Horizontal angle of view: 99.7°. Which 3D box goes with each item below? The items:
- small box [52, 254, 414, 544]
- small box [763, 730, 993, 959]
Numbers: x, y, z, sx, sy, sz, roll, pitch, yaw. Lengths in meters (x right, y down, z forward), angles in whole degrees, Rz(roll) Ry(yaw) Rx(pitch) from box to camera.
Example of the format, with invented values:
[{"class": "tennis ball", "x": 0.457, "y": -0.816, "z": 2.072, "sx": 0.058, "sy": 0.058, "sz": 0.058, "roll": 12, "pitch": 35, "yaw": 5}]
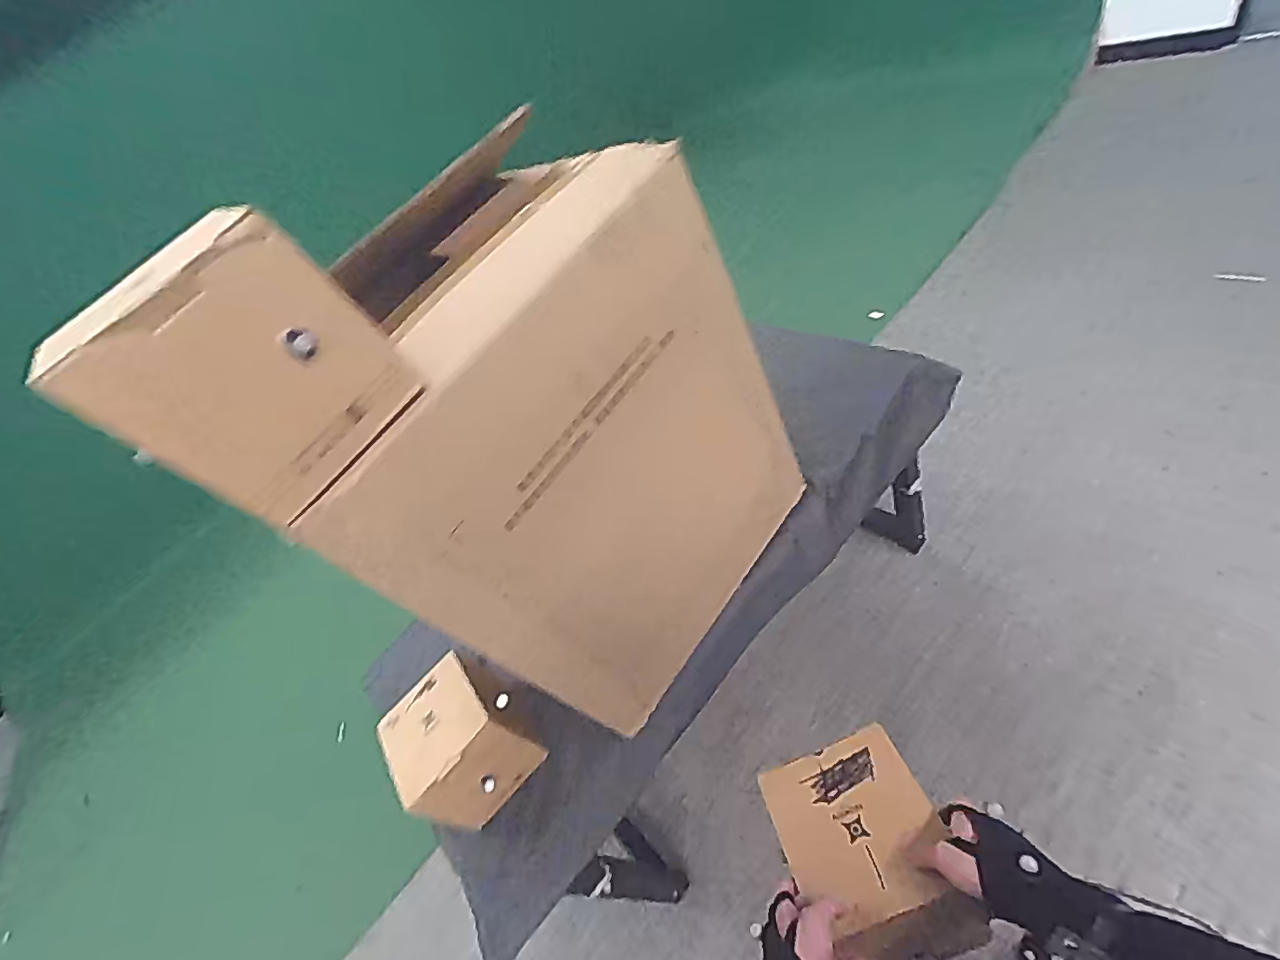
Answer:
[{"class": "small box", "x": -0.332, "y": -0.068, "z": 0.465, "sx": 0.179, "sy": 0.176, "sz": 0.168, "roll": 23, "pitch": 68, "yaw": 44}, {"class": "small box", "x": 0.269, "y": 0.439, "z": 0.626, "sx": 0.168, "sy": 0.176, "sz": 0.179, "roll": -27, "pitch": 29, "yaw": 4}]
